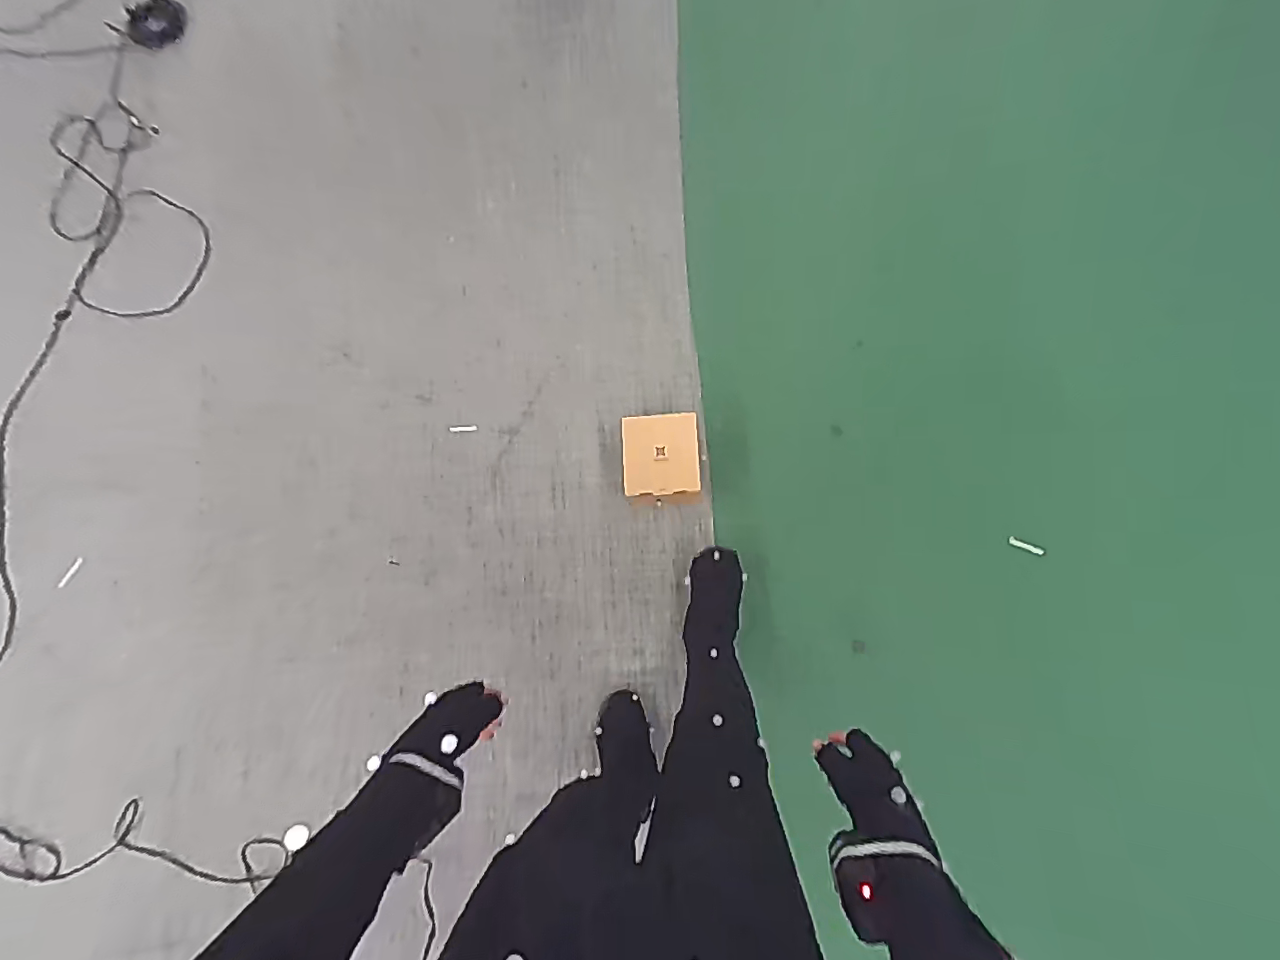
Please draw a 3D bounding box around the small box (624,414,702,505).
[{"bbox_3d":[0.054,-0.043,1.251,0.168,0.176,0.179,-4,81,4],"label":"small box"}]
